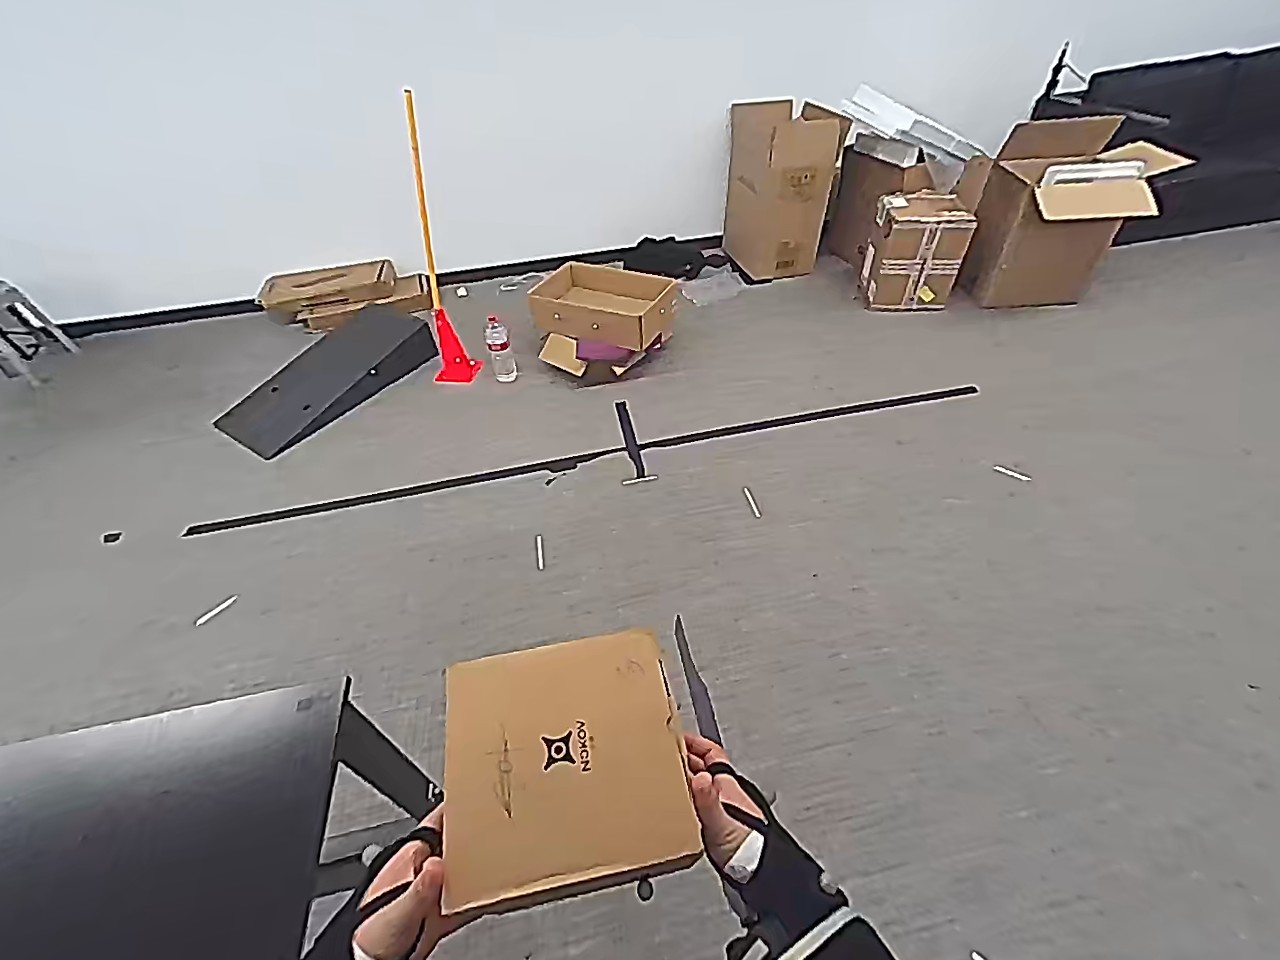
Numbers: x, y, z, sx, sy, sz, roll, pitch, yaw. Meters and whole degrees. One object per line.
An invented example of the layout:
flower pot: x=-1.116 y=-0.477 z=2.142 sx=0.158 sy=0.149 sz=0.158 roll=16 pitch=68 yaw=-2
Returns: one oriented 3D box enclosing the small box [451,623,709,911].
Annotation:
small box: x=-0.051 y=0.249 z=0.467 sx=0.179 sy=0.176 sz=0.168 roll=-11 pitch=50 yaw=-6
